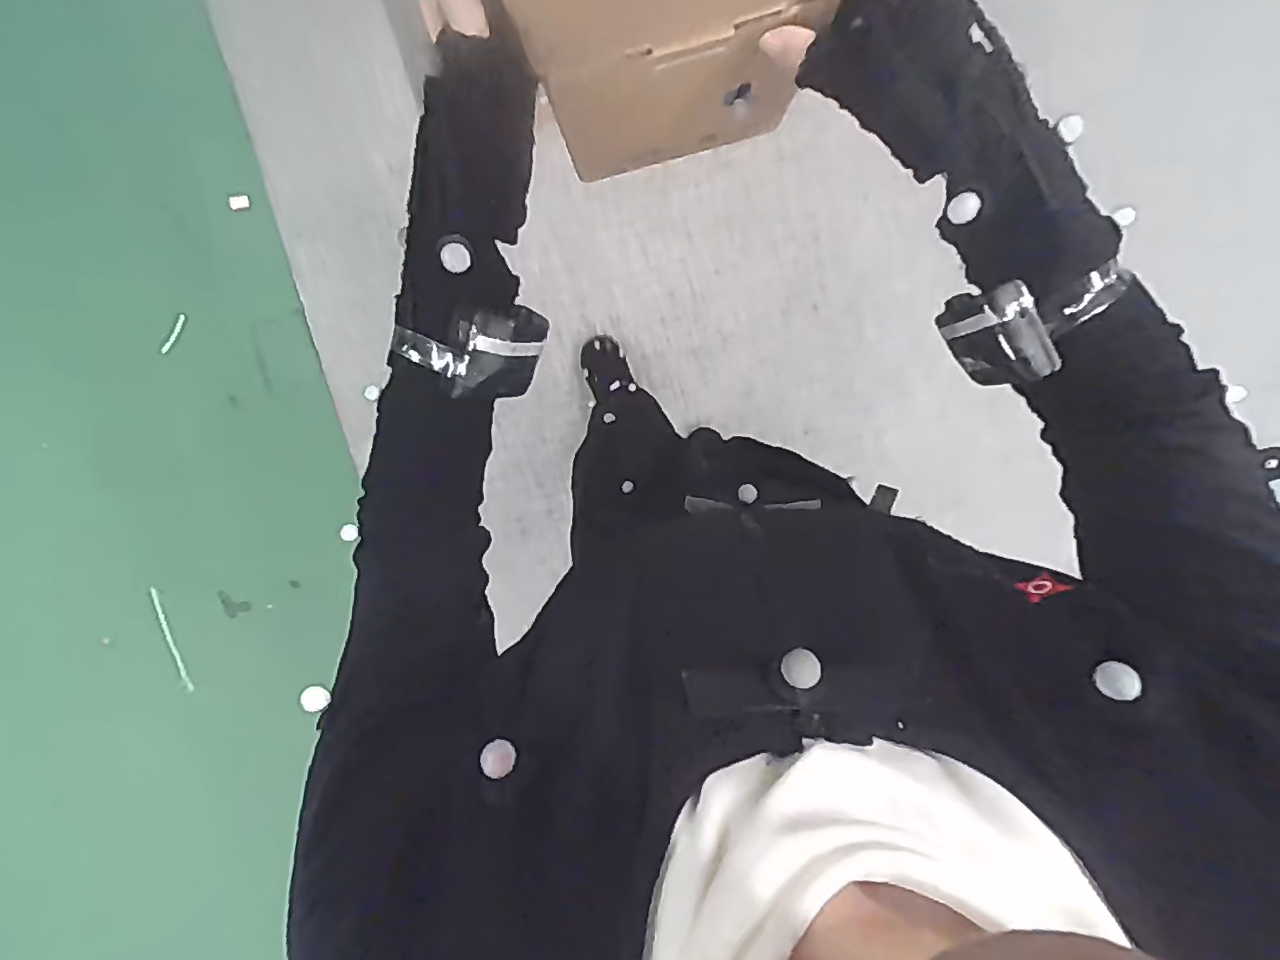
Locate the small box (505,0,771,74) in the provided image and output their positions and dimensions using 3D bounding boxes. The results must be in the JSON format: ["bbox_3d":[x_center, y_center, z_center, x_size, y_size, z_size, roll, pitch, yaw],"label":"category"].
[{"bbox_3d":[0.004,-0.297,0.194,0.179,0.176,0.168,-18,102,3],"label":"small box"}]

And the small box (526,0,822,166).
[{"bbox_3d":[0.004,-0.333,0.354,0.168,0.176,0.179,-13,100,3],"label":"small box"}]
